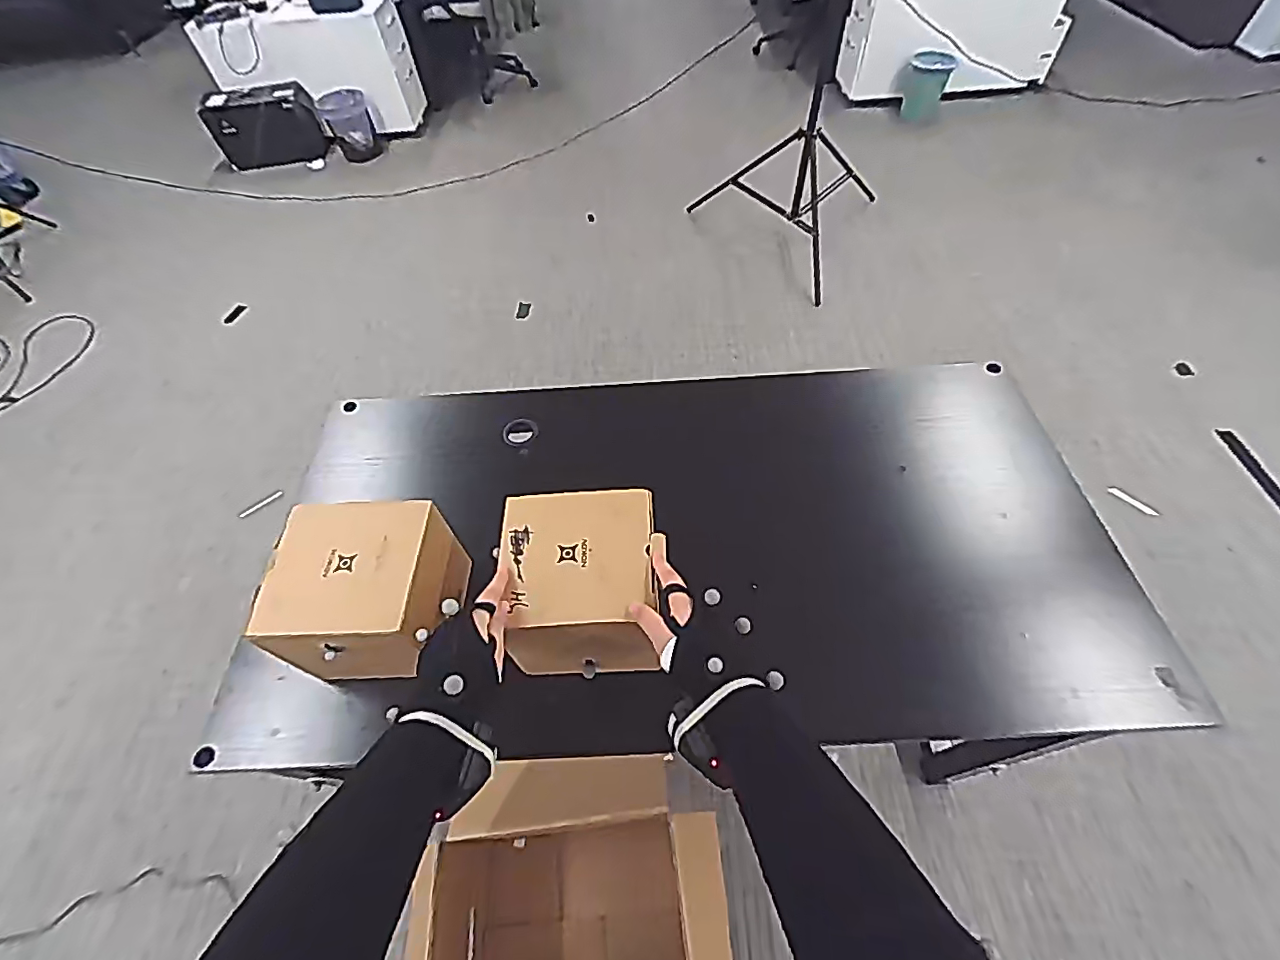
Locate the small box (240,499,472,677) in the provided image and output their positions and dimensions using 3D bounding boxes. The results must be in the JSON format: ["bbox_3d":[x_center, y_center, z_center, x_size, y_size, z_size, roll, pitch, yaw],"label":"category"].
[{"bbox_3d":[-0.329,0.139,0.670,0.179,0.176,0.168,-2,56,1],"label":"small box"}]

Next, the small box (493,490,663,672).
[{"bbox_3d":[-0.064,0.128,0.661,0.179,0.176,0.168,-3,54,1],"label":"small box"}]
